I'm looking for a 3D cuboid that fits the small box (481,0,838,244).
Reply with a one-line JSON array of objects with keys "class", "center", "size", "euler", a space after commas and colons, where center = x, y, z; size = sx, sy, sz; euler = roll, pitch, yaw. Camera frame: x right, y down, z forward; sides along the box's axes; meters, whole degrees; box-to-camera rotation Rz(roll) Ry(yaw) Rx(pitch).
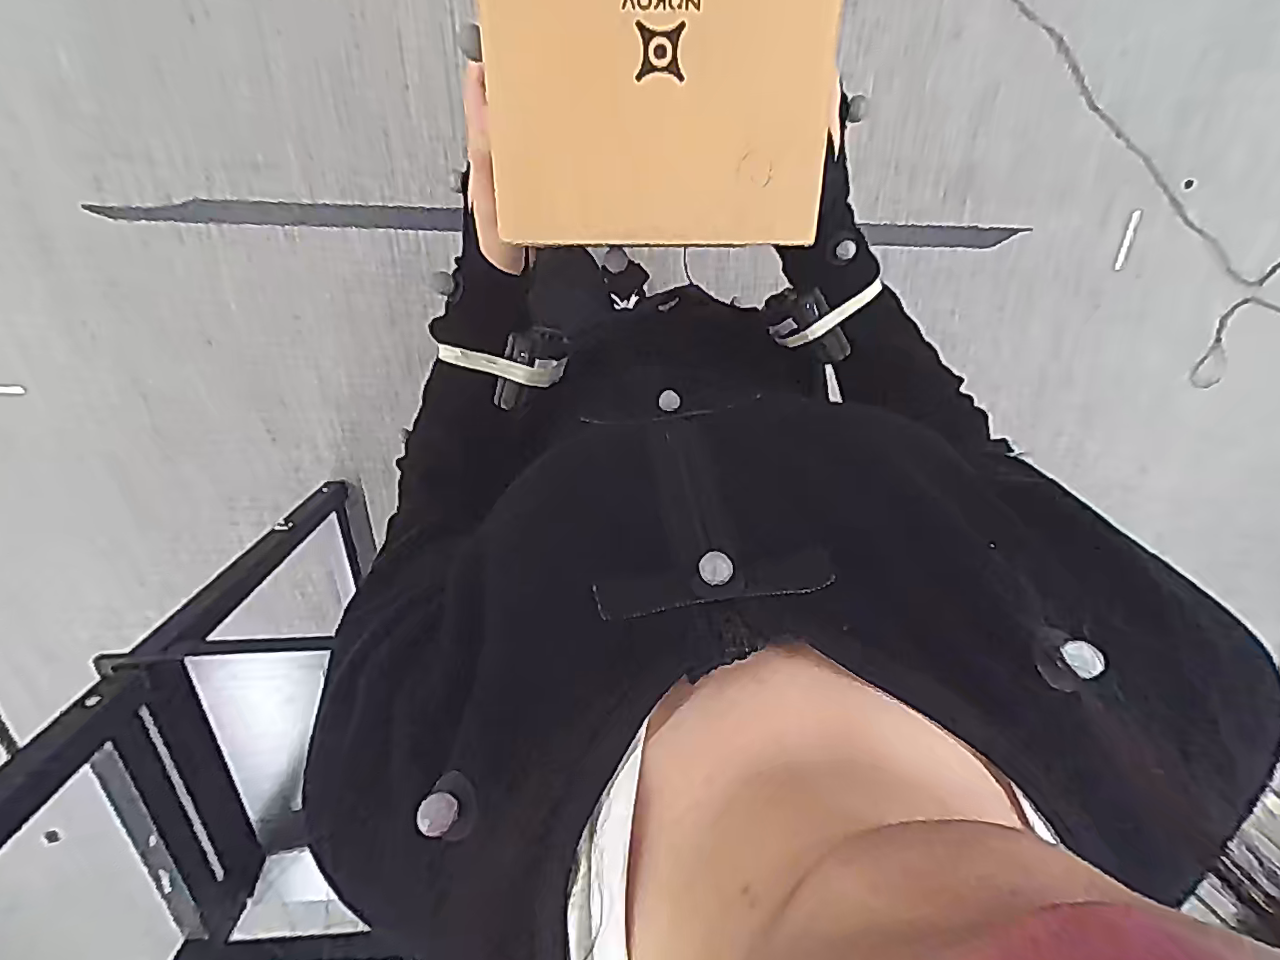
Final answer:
[{"class": "small box", "center": [0.007, -0.238, 0.324], "size": [0.168, 0.176, 0.179], "euler": [-1, 112, -2]}]
